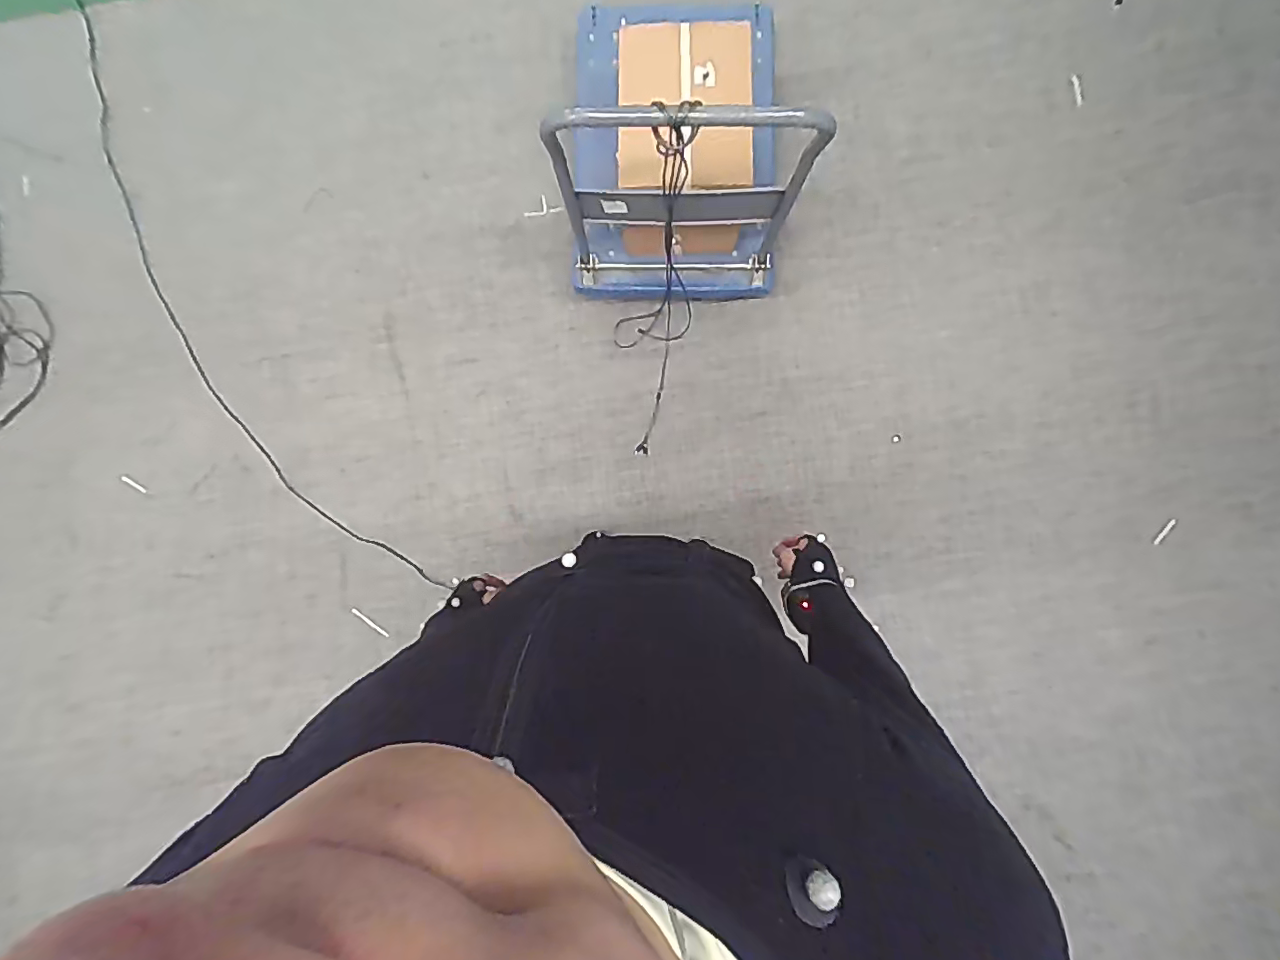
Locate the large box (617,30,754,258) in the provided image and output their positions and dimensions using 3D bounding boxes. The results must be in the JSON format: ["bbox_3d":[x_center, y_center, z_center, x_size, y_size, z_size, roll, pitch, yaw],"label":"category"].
[{"bbox_3d":[0.110,-0.839,1.397,0.320,0.320,0.408,0,85,1],"label":"large box"}]
